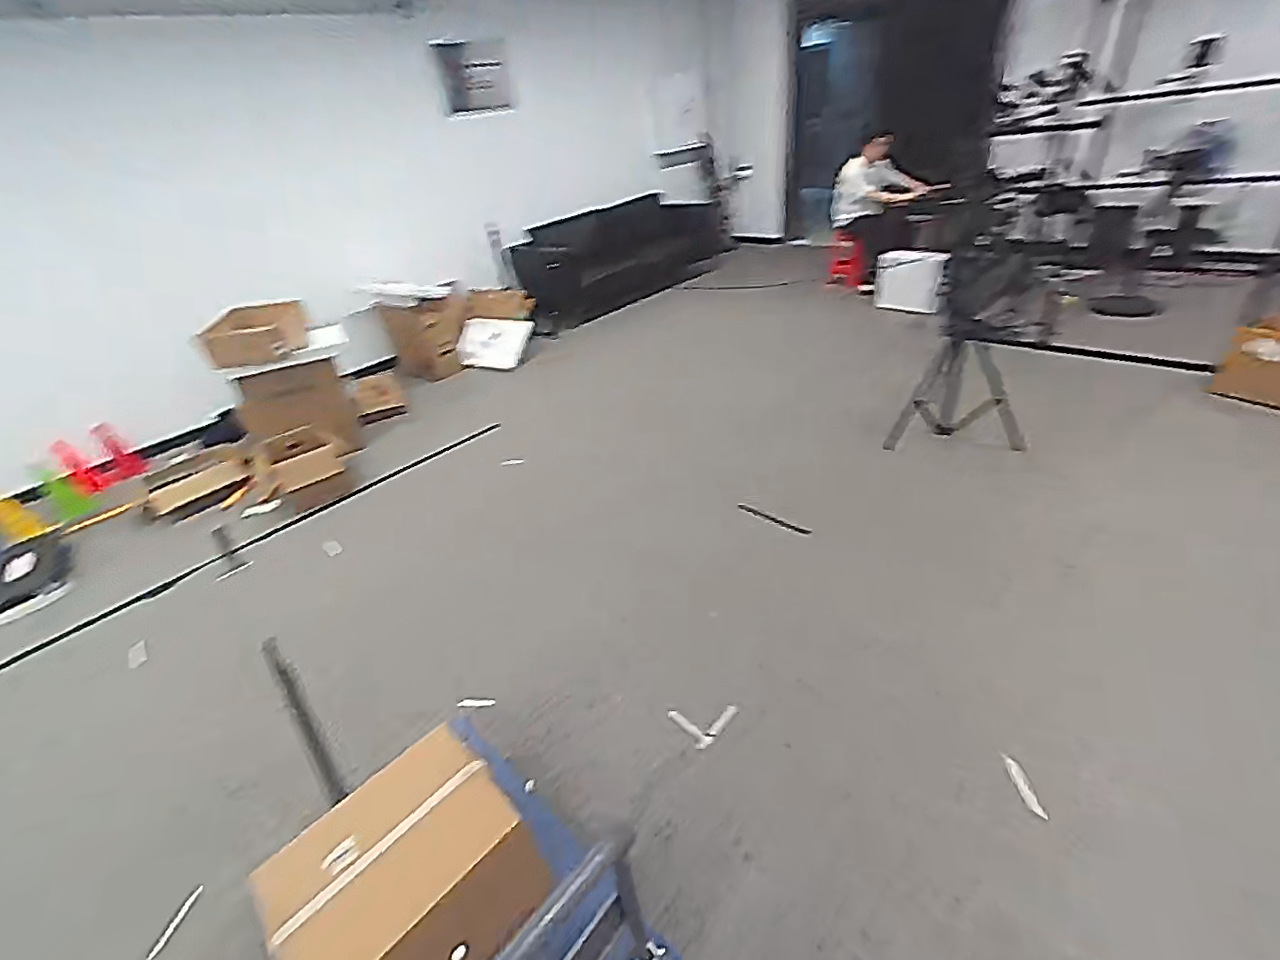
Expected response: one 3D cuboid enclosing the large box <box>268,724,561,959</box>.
[{"bbox_3d":[-0.433,0.813,1.104,0.320,0.320,0.408,23,46,41],"label":"large box"}]
